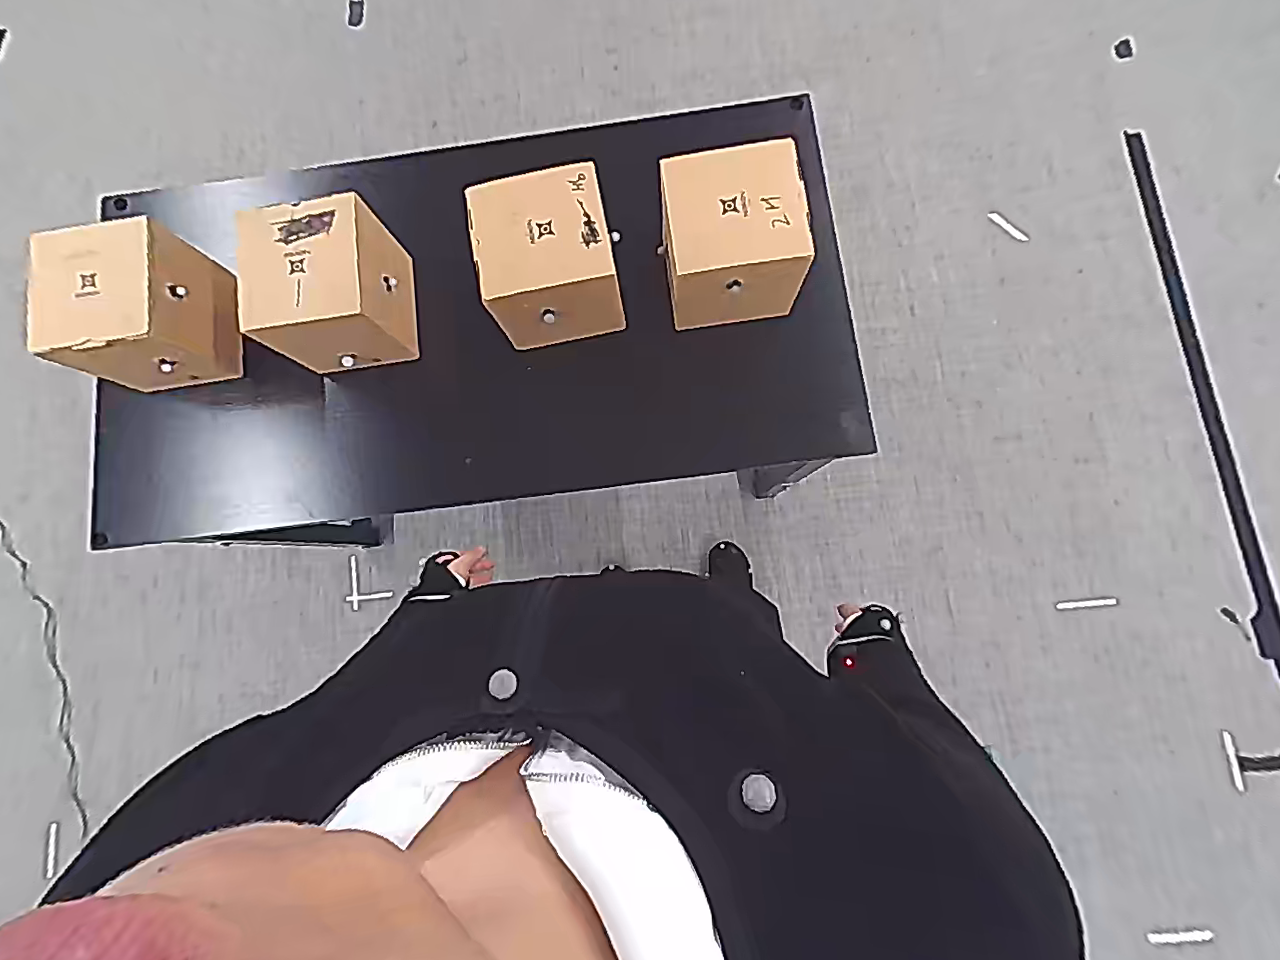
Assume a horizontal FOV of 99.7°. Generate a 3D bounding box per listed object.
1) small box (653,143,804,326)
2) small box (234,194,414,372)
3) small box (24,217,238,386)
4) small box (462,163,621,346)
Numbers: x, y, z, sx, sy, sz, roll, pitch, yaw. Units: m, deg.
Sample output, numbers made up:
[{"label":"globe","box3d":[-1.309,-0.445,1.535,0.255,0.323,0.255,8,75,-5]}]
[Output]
[{"label":"small box","box3d":[0.117,-0.335,0.771,0.179,0.176,0.168,-7,81,2]},{"label":"small box","box3d":[-0.449,-0.277,0.790,0.168,0.176,0.179,-8,82,2]},{"label":"small box","box3d":[-0.735,-0.249,0.799,0.168,0.176,0.179,-9,81,0]},{"label":"small box","box3d":[-0.133,-0.310,0.781,0.179,0.176,0.168,-11,81,2]}]
